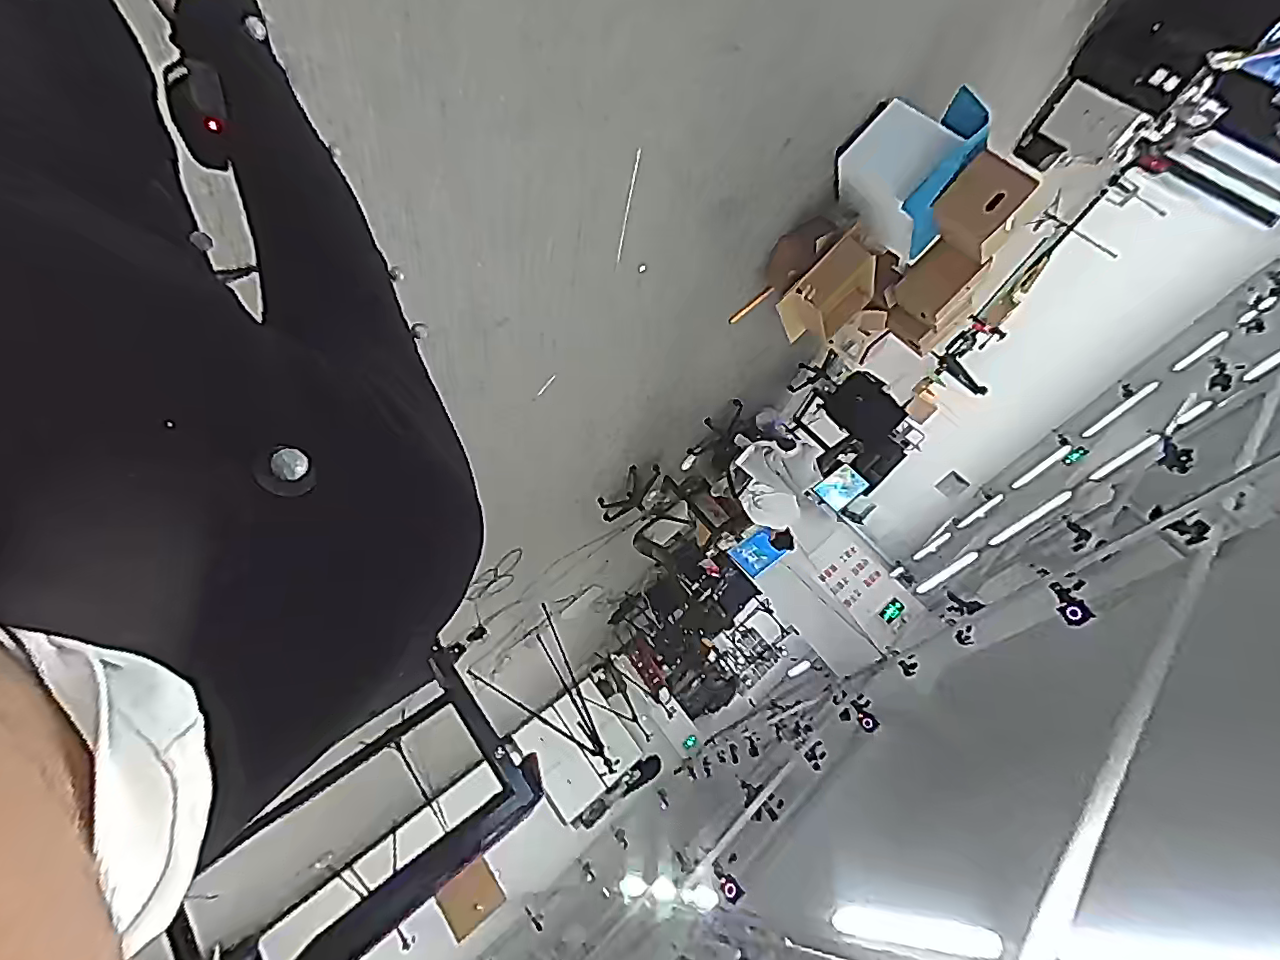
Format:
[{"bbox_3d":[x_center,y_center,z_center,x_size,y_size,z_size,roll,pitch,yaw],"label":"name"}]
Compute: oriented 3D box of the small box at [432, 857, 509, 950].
[{"bbox_3d":[-0.553,1.368,1.756,0.179,0.176,0.168,-28,157,-34],"label":"small box"}]
